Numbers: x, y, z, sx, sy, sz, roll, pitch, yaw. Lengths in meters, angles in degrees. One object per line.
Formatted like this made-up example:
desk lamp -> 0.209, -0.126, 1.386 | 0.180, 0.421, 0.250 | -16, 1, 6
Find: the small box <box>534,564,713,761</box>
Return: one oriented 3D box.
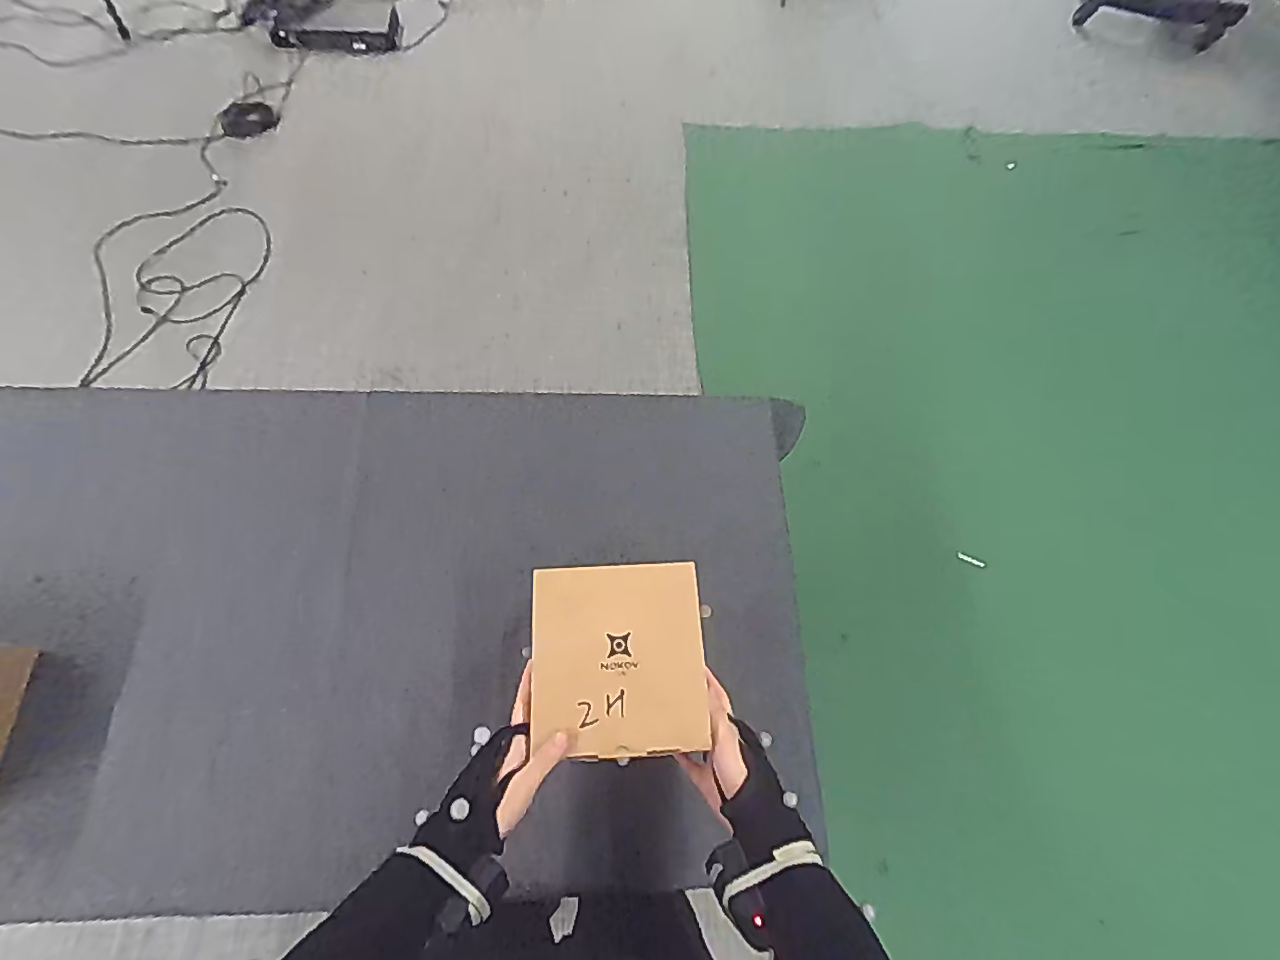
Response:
small box -> -0.021, 0.201, 0.594 | 0.168, 0.176, 0.179 | -3, 68, -2
